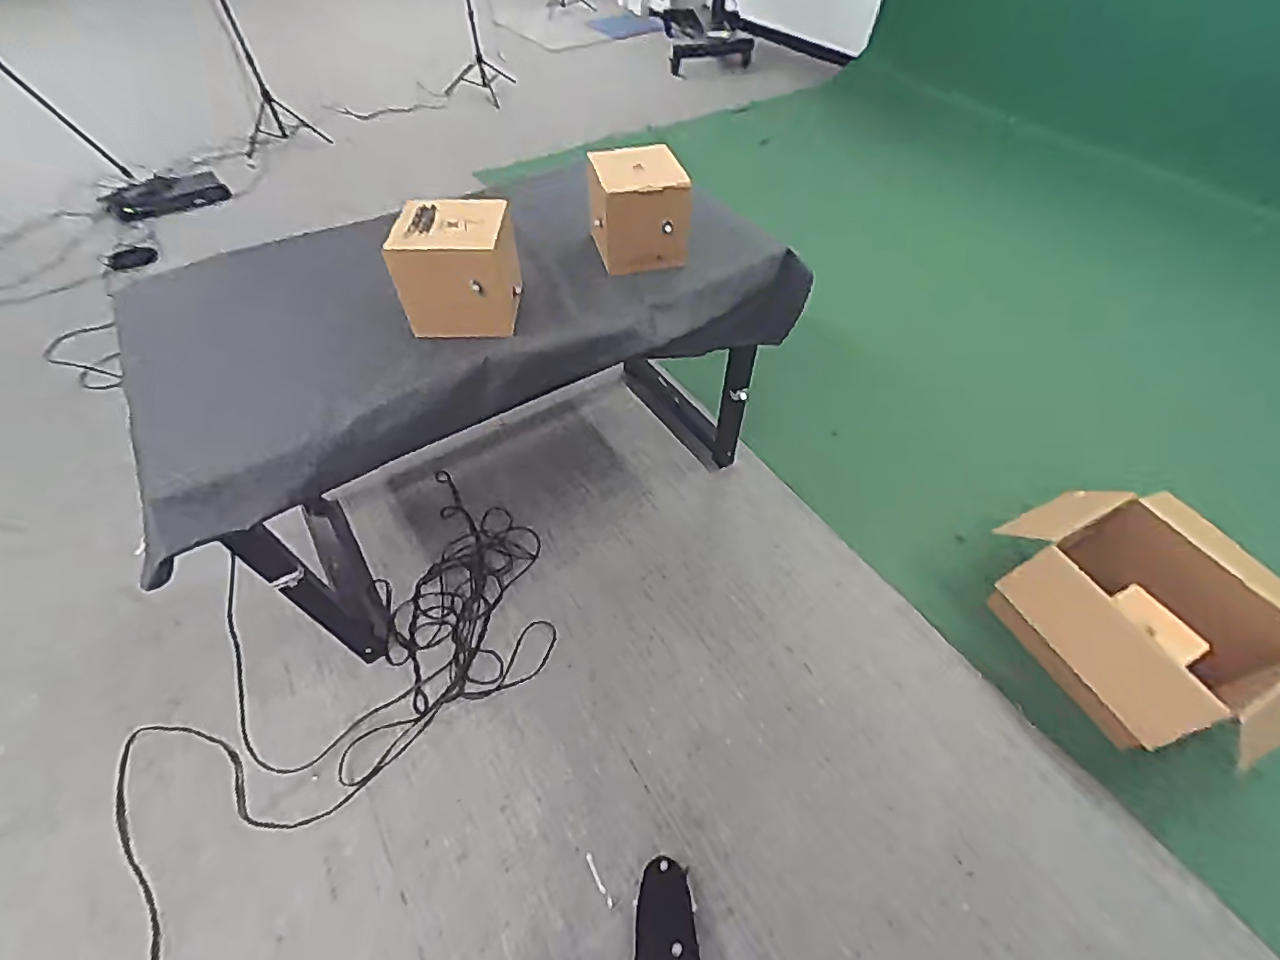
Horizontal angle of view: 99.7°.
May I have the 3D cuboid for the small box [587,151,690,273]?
[{"bbox_3d":[-0.005,-0.534,1.091,0.168,0.176,0.179,-12,52,-10],"label":"small box"}]
